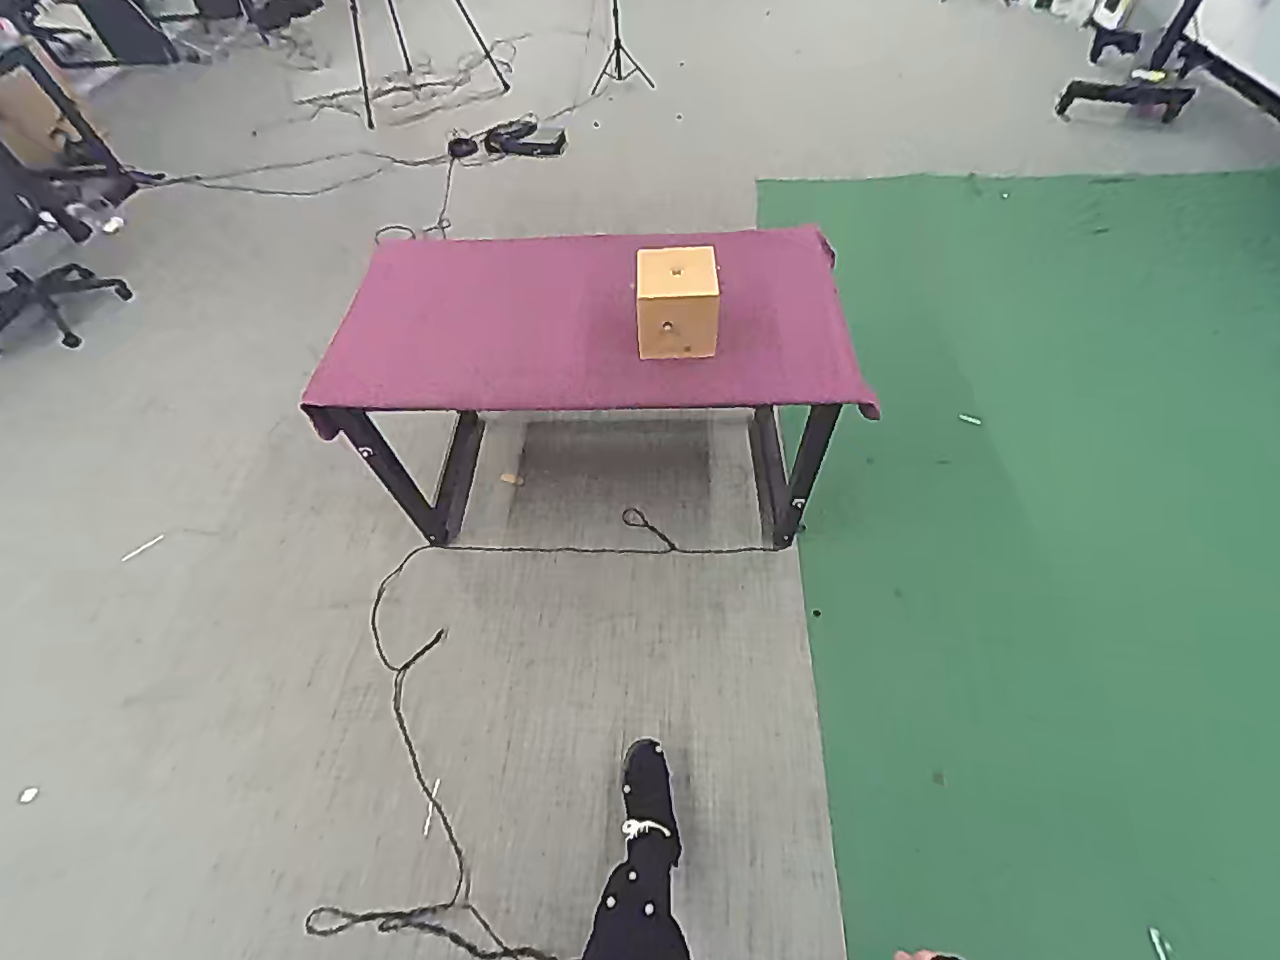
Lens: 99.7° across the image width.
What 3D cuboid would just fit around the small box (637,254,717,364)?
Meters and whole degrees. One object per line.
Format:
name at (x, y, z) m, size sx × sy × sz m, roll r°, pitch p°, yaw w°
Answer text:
small box at (0.082, -0.370, 1.193) m, size 0.168 × 0.176 × 0.179 m, roll -2°, pitch 53°, yaw 3°
